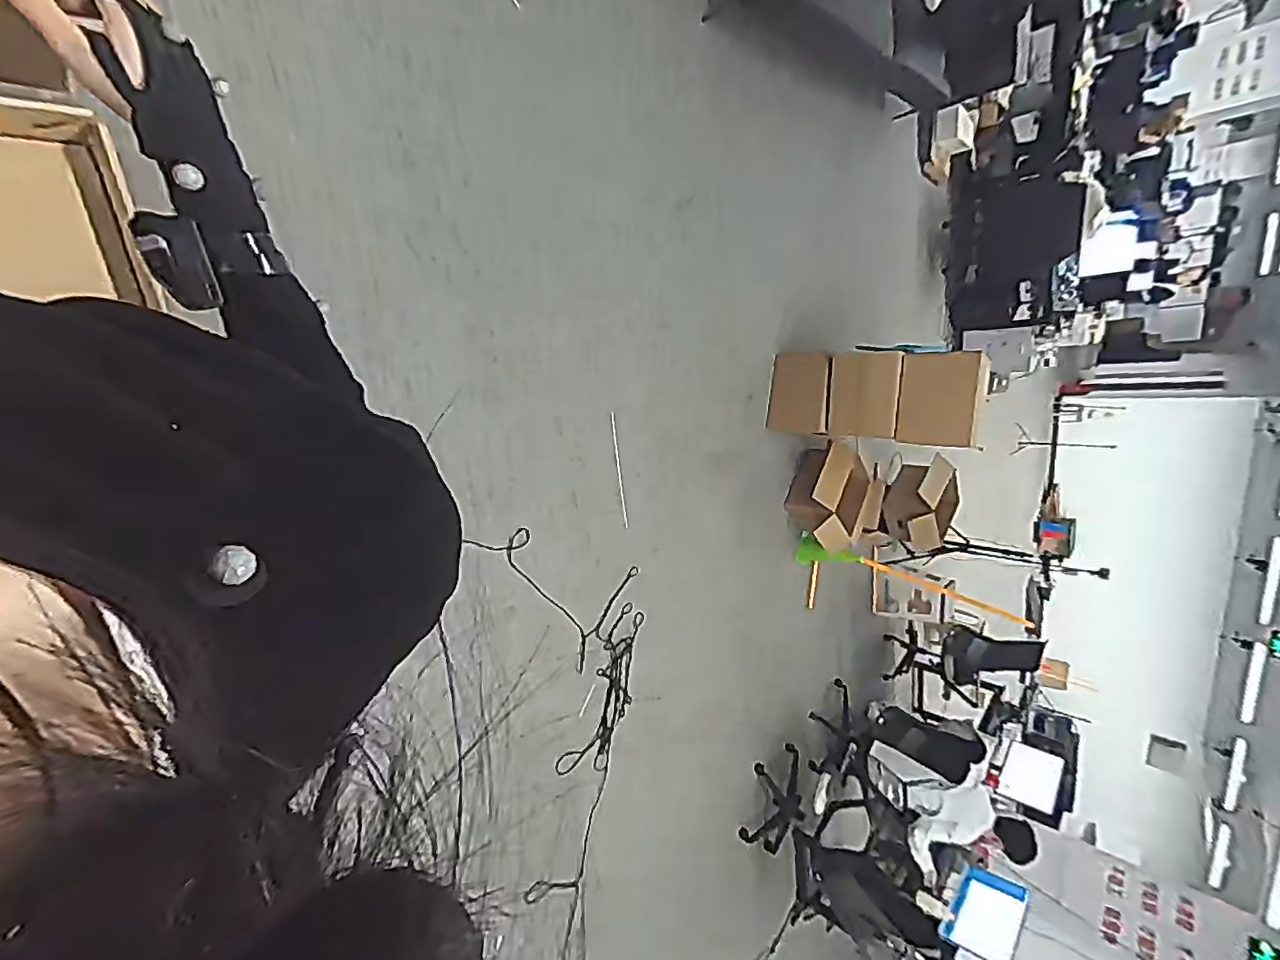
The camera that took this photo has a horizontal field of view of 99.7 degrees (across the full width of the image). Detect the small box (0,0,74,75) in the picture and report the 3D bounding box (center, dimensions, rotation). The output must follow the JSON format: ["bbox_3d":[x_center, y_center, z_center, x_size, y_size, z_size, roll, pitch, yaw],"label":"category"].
[{"bbox_3d":[-0.459,-0.357,0.294,0.179,0.176,0.168,-16,113,-40],"label":"small box"}]
